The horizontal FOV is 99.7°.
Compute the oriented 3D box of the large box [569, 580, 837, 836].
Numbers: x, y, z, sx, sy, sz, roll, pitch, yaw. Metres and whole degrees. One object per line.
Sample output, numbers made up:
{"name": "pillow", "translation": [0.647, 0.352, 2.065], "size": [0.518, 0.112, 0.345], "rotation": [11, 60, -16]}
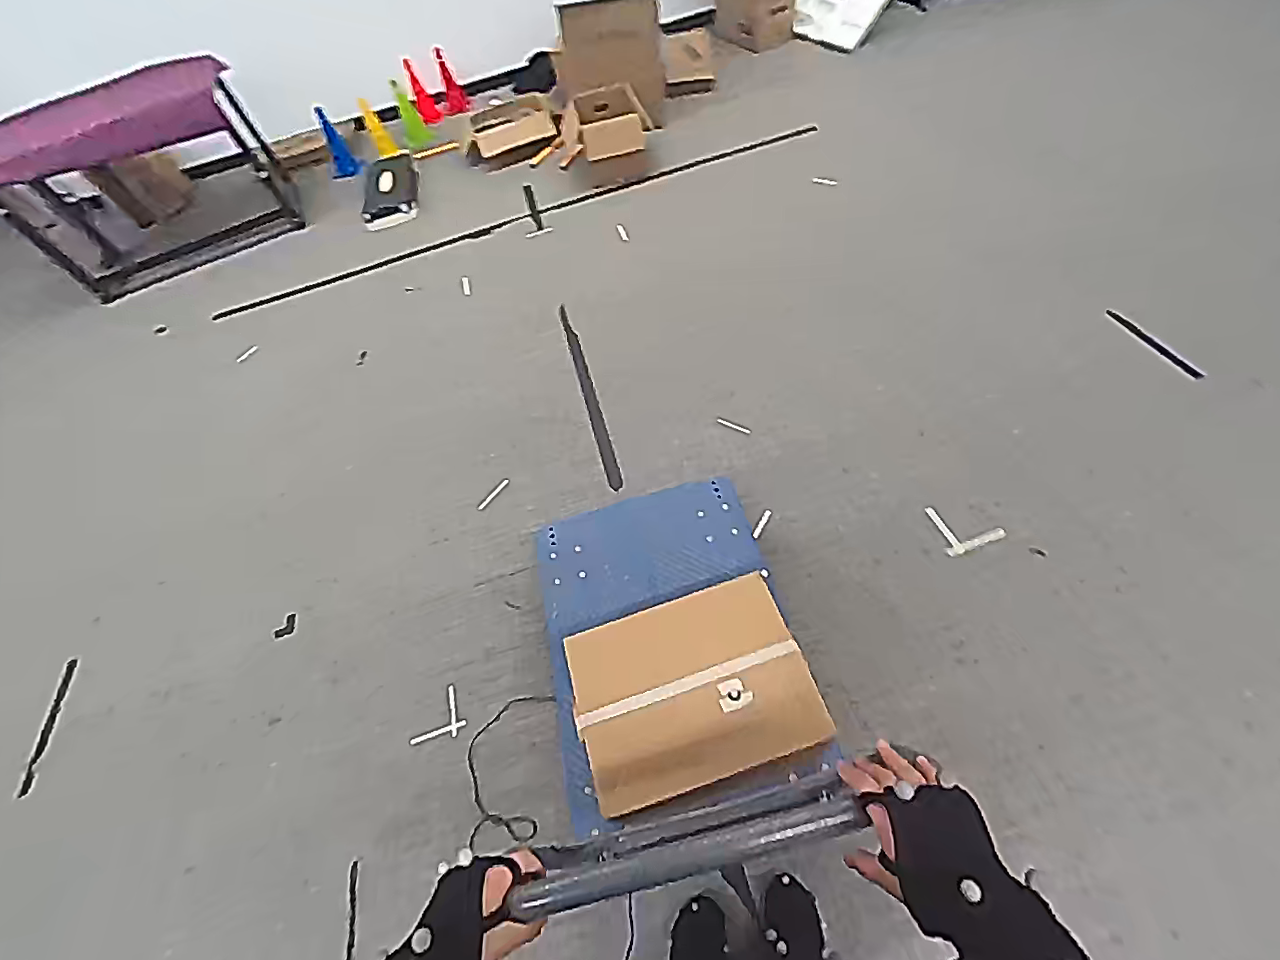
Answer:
{"name": "large box", "translation": [0.114, 0.459, 1.075], "size": [0.408, 0.320, 0.320], "rotation": [-18, 55, -4]}
